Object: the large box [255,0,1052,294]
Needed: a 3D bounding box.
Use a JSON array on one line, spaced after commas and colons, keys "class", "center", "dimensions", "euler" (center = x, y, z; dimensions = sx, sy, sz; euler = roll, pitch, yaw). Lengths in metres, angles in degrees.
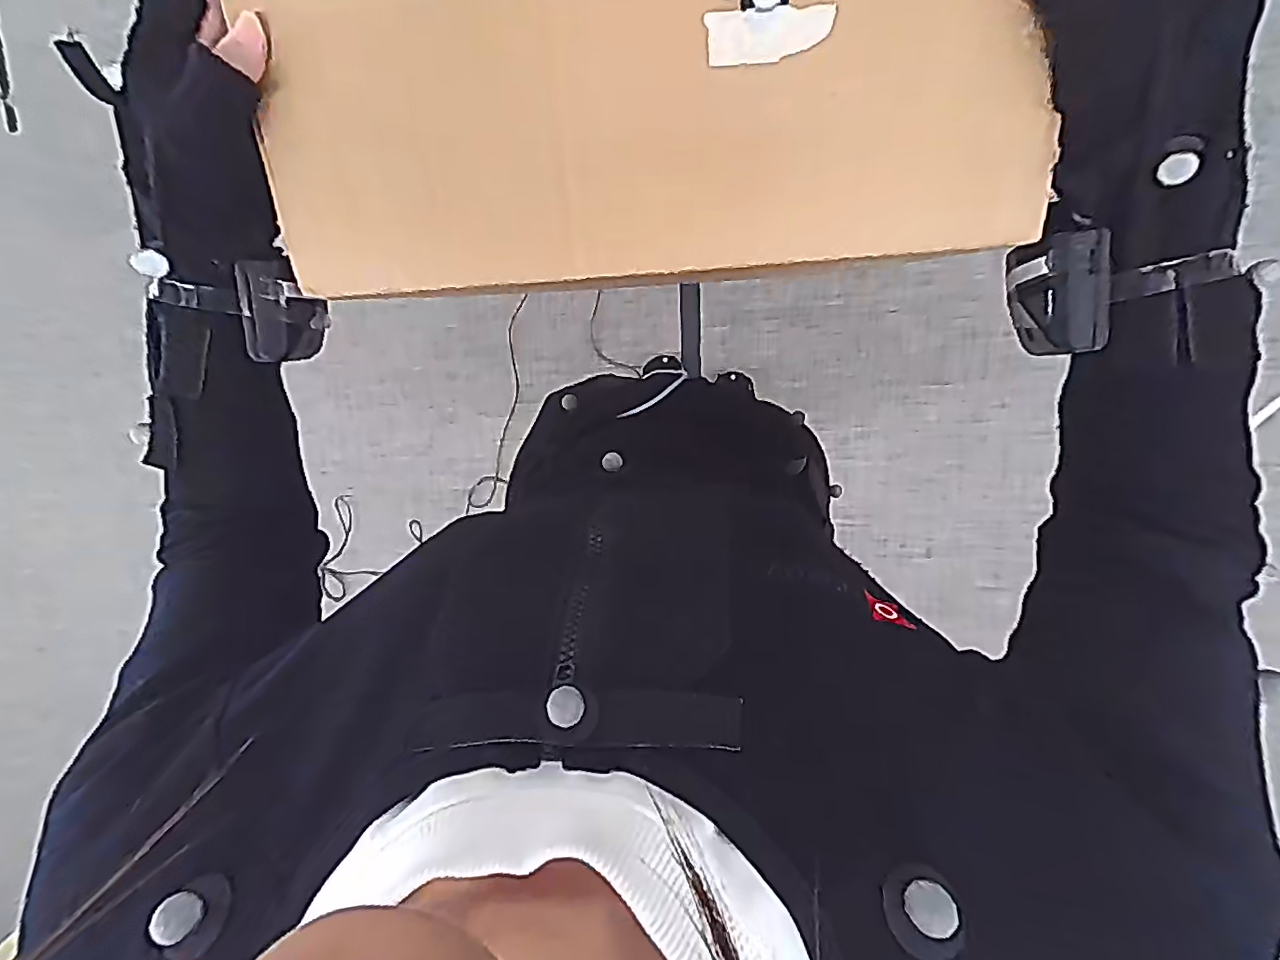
[{"class": "large box", "center": [0.006, -0.317, 0.400], "dimensions": [0.408, 0.320, 0.320], "euler": [-2, 109, 6]}]
